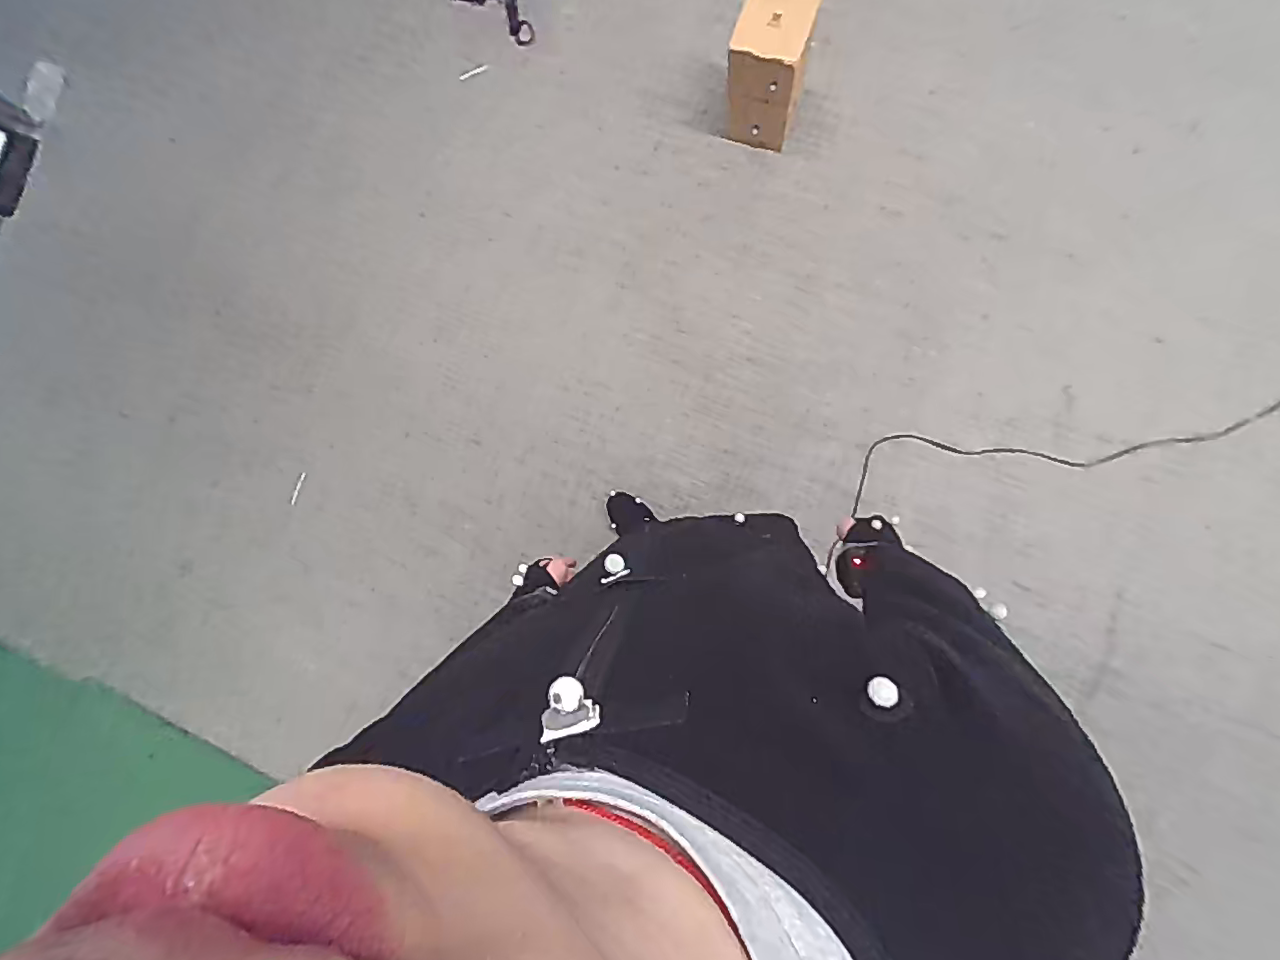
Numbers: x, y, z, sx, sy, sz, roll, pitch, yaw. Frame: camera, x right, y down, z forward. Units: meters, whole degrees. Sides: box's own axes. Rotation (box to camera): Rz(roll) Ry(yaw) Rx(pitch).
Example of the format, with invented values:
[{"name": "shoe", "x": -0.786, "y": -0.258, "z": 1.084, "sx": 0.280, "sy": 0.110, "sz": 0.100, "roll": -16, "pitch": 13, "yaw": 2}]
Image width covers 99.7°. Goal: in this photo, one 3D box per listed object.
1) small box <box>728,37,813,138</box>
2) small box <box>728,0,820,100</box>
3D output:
[{"name": "small box", "x": 0.341, "y": -1.052, "z": 1.434, "sx": 0.168, "sy": 0.176, "sz": 0.179, "roll": 20, "pitch": 94, "yaw": 8}, {"name": "small box", "x": 0.315, "y": -1.047, "z": 1.273, "sx": 0.168, "sy": 0.176, "sz": 0.179, "roll": 20, "pitch": 92, "yaw": 7}]
